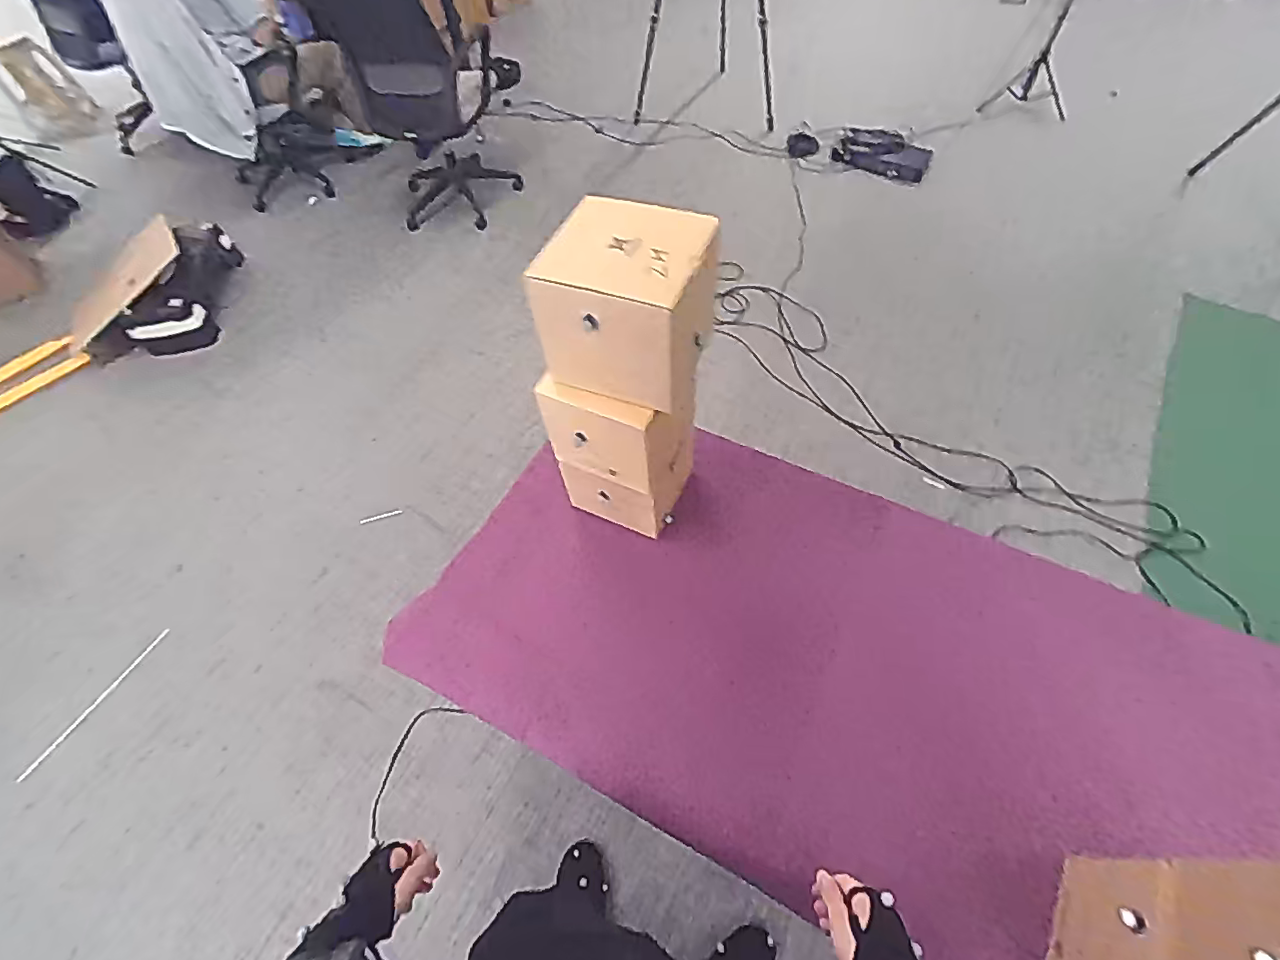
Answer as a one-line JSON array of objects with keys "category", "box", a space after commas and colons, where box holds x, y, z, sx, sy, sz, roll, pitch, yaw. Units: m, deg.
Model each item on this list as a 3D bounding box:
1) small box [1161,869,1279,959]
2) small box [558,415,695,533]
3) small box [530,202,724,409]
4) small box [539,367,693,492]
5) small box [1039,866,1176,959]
[{"category": "small box", "box": [0.552, 0.436, 0.416, 0.168, 0.176, 0.179, 27, 62, 21]}, {"category": "small box", "box": [-0.016, -0.028, 0.946, 0.179, 0.176, 0.168, 20, 61, 16]}, {"category": "small box", "box": [-0.008, -0.213, 0.677, 0.179, 0.176, 0.168, 18, 60, 15]}, {"category": "small box", "box": [-0.022, -0.109, 0.806, 0.168, 0.176, 0.179, 21, 61, 16]}, {"category": "small box", "box": [0.557, 0.528, 0.551, 0.179, 0.176, 0.168, 27, 62, 20]}]
